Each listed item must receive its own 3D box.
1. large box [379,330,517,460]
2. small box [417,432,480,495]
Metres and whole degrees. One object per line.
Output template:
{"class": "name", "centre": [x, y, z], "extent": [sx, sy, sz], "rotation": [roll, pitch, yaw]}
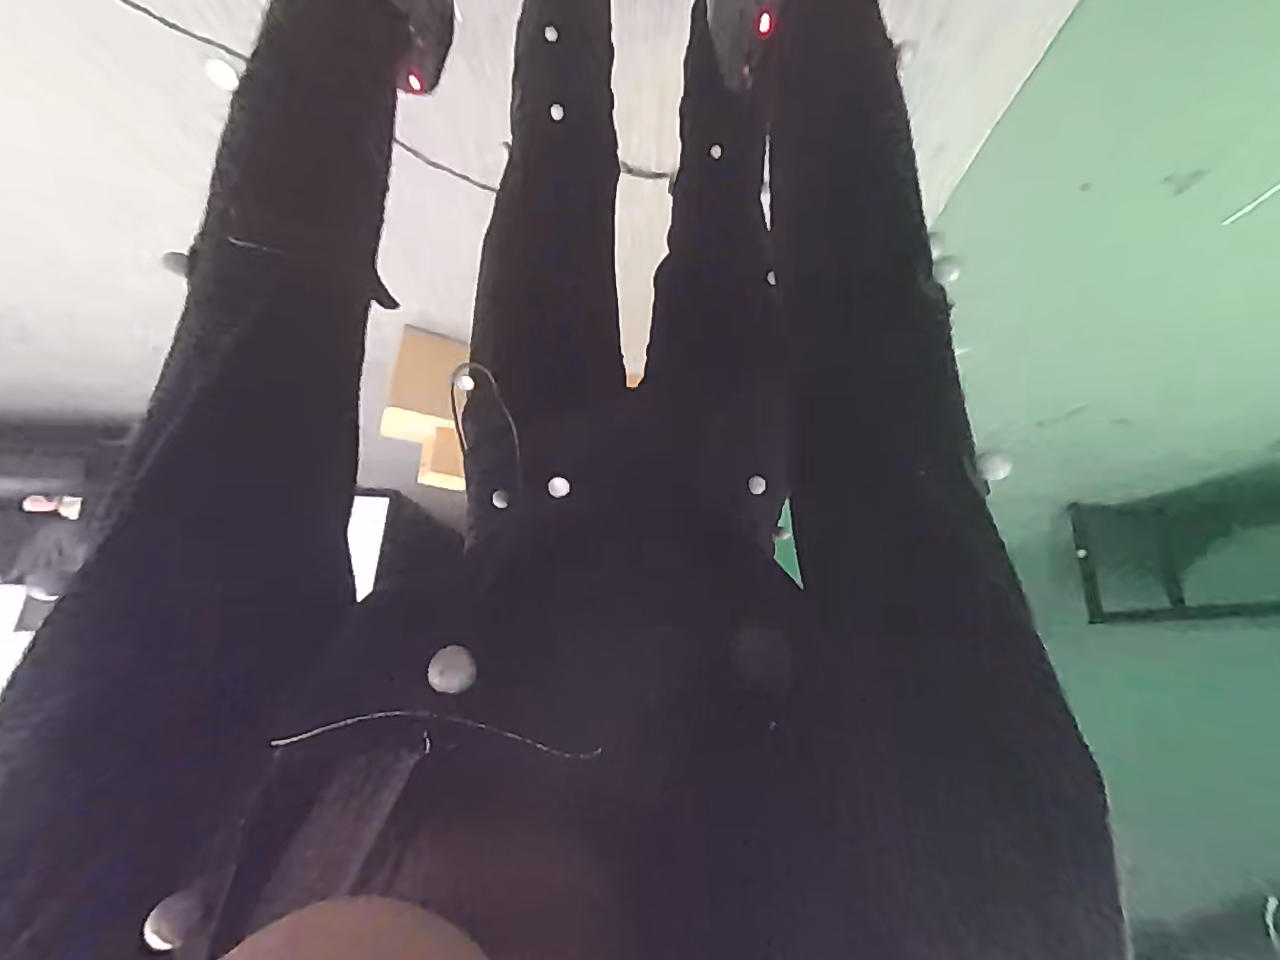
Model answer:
{"class": "large box", "centre": [-0.709, -0.298, 2.004], "extent": [0.408, 0.320, 0.320], "rotation": [14, 159, -26]}
{"class": "small box", "centre": [-0.690, -0.055, 1.957], "extent": [0.168, 0.176, 0.179], "rotation": [15, 160, -31]}
